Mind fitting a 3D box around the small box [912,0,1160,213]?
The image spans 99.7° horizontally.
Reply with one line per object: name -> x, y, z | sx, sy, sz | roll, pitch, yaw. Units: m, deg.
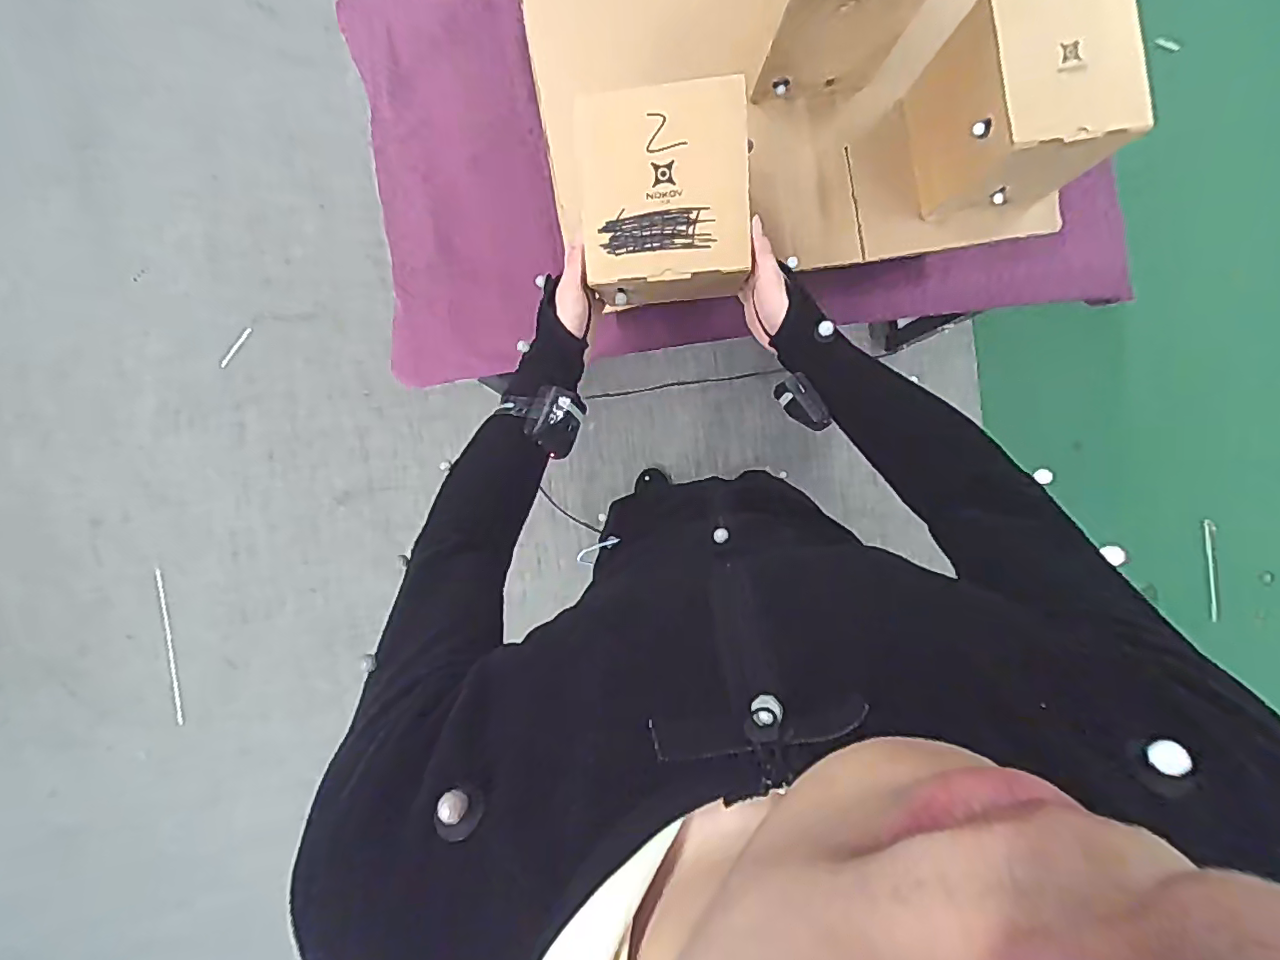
small box -> 0.454, -0.454, 0.648 | 0.168, 0.176, 0.179 | -10, 92, -3

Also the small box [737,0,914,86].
small box -> 0.216, -0.598, 0.629 | 0.168, 0.176, 0.179 | -11, 91, -4
